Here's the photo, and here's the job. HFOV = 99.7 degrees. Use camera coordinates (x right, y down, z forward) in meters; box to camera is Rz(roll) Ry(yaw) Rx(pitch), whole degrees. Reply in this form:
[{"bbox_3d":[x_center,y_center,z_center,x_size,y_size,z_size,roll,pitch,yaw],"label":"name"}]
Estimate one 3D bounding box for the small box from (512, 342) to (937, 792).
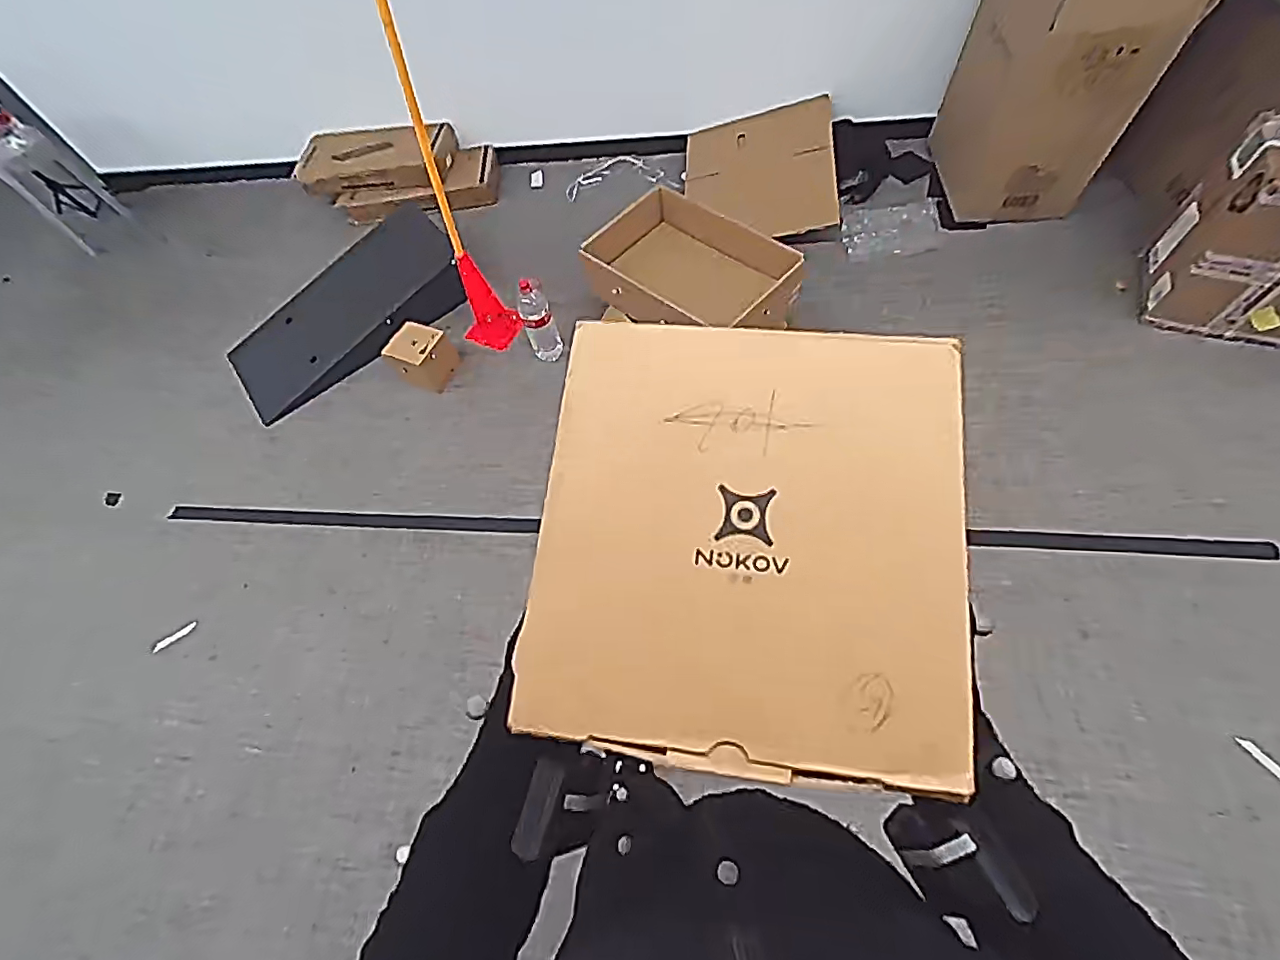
[{"bbox_3d":[0.046,0.046,0.304,0.168,0.176,0.179,5,73,7],"label":"small box"}]
